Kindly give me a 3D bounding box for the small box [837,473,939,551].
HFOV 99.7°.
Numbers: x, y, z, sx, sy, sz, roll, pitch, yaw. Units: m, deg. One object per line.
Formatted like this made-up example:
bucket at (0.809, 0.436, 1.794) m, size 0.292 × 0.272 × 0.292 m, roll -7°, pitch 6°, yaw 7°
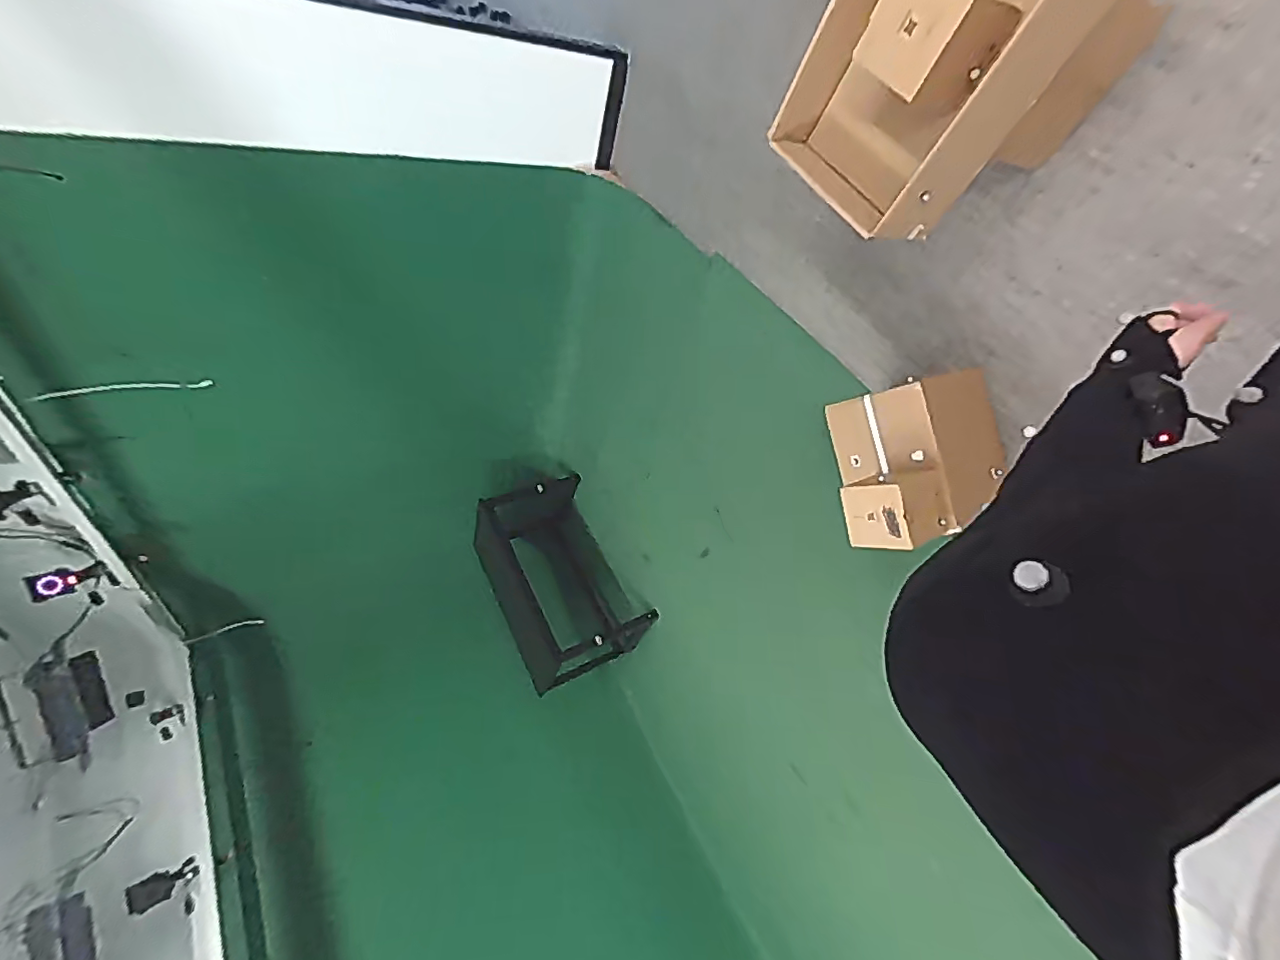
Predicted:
small box at (0.651, 0.080, 1.408) m, size 0.179 × 0.176 × 0.168 m, roll -7°, pitch 97°, yaw 58°
